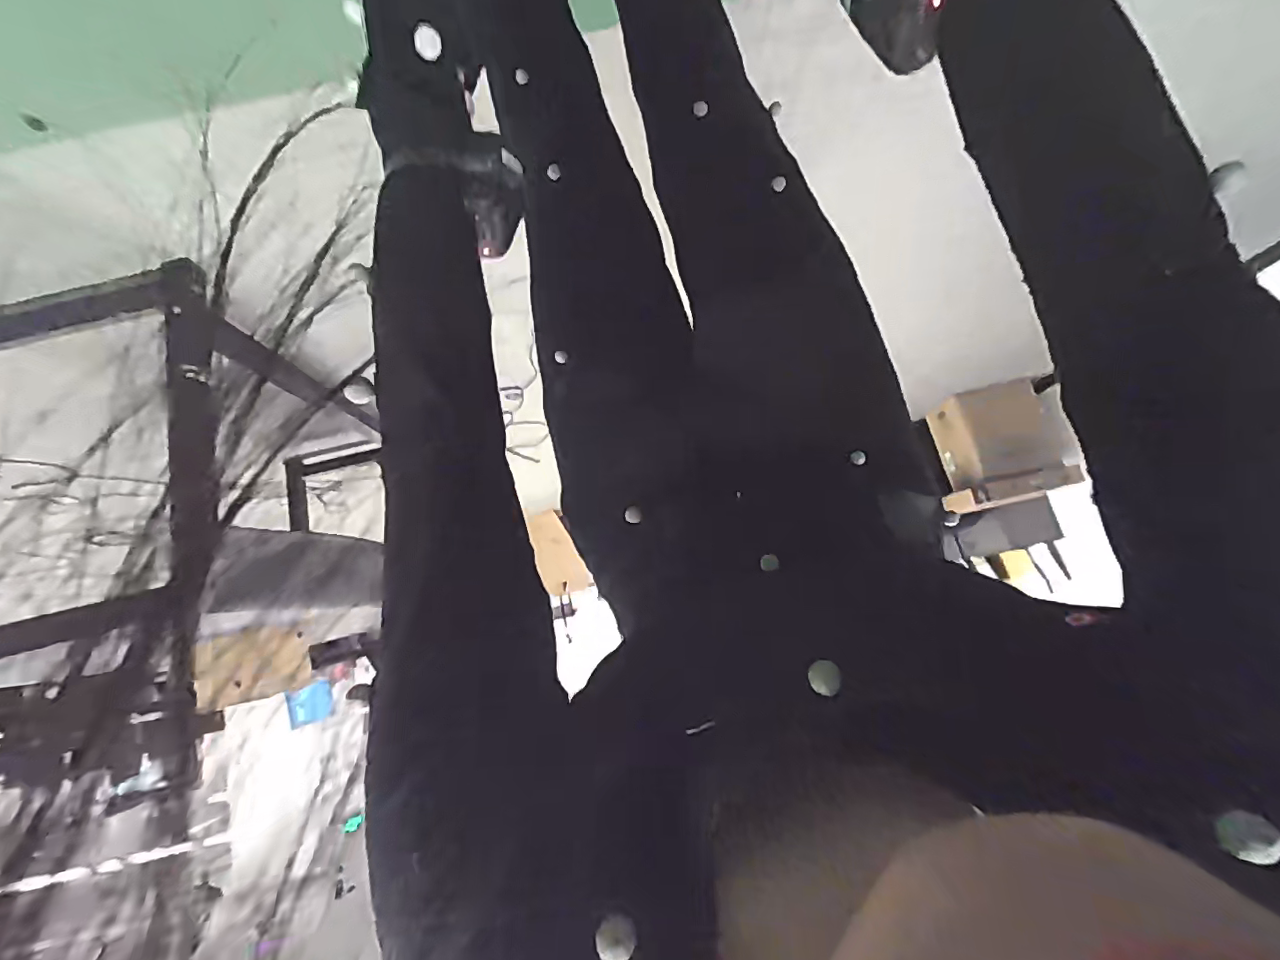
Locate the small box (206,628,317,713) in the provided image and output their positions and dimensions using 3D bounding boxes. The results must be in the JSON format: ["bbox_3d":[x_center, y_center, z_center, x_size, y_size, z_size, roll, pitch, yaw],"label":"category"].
[{"bbox_3d":[-0.965,0.476,1.380,0.179,0.176,0.168,-12,166,1],"label":"small box"}]
